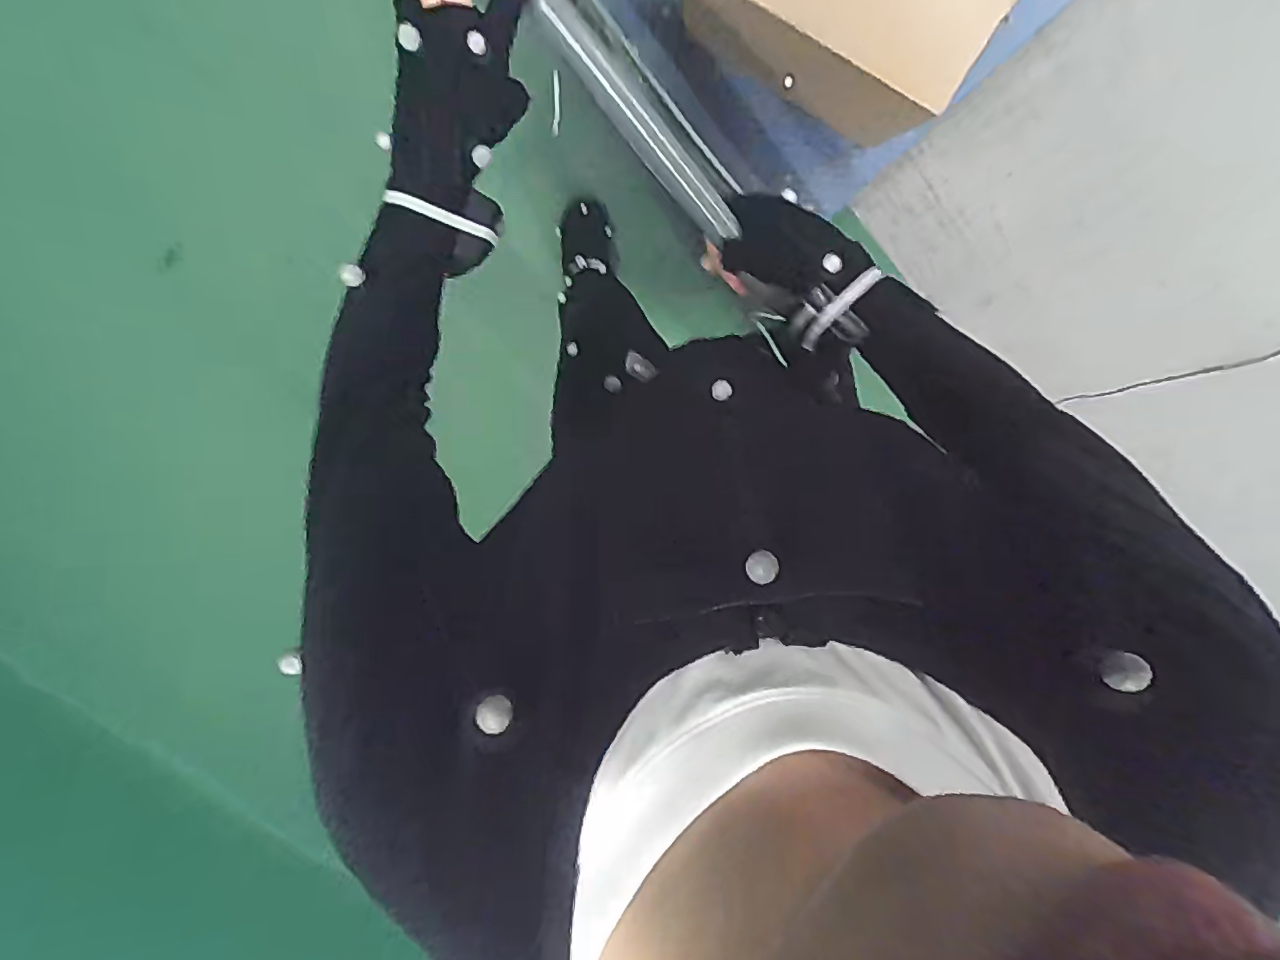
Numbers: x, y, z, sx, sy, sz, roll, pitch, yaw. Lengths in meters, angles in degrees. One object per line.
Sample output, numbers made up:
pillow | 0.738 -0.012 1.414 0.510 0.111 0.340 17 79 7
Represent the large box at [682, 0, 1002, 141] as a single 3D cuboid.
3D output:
large box | 0.307 -0.771 0.795 0.408 0.320 0.320 26 113 -6
